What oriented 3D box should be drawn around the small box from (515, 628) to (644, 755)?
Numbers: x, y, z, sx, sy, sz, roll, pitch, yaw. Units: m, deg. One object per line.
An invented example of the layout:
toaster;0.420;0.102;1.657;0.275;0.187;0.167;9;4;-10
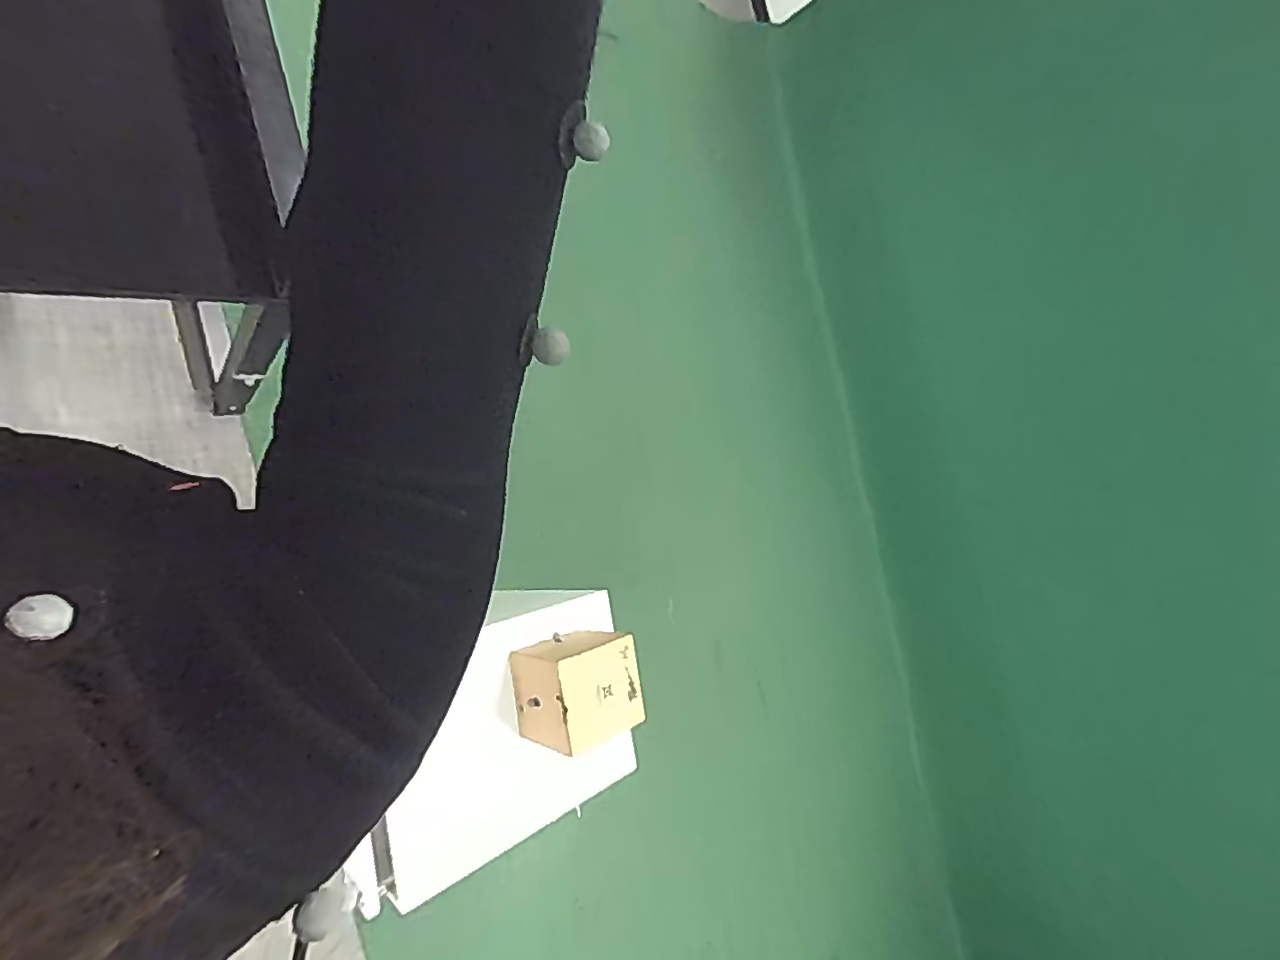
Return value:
small box;-0.120;0.385;1.018;0.179;0.176;0.168;-7;87;-43
